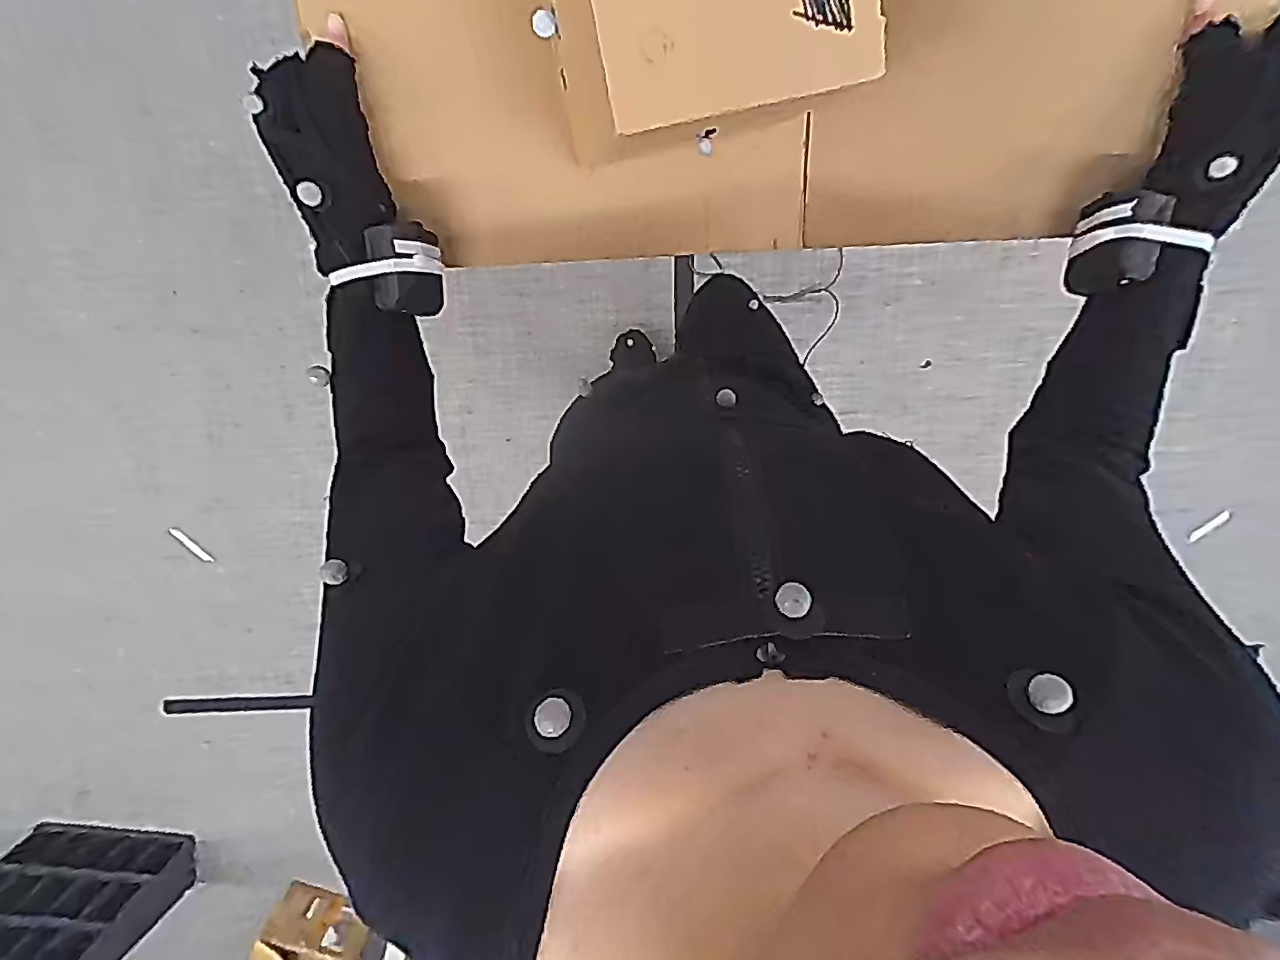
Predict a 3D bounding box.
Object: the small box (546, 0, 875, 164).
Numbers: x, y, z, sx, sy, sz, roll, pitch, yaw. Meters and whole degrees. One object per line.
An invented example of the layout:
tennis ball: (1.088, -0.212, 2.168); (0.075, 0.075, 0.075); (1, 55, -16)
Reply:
small box: (0.034, -0.334, 0.371); (0.179, 0.176, 0.168); (-16, 115, -6)
